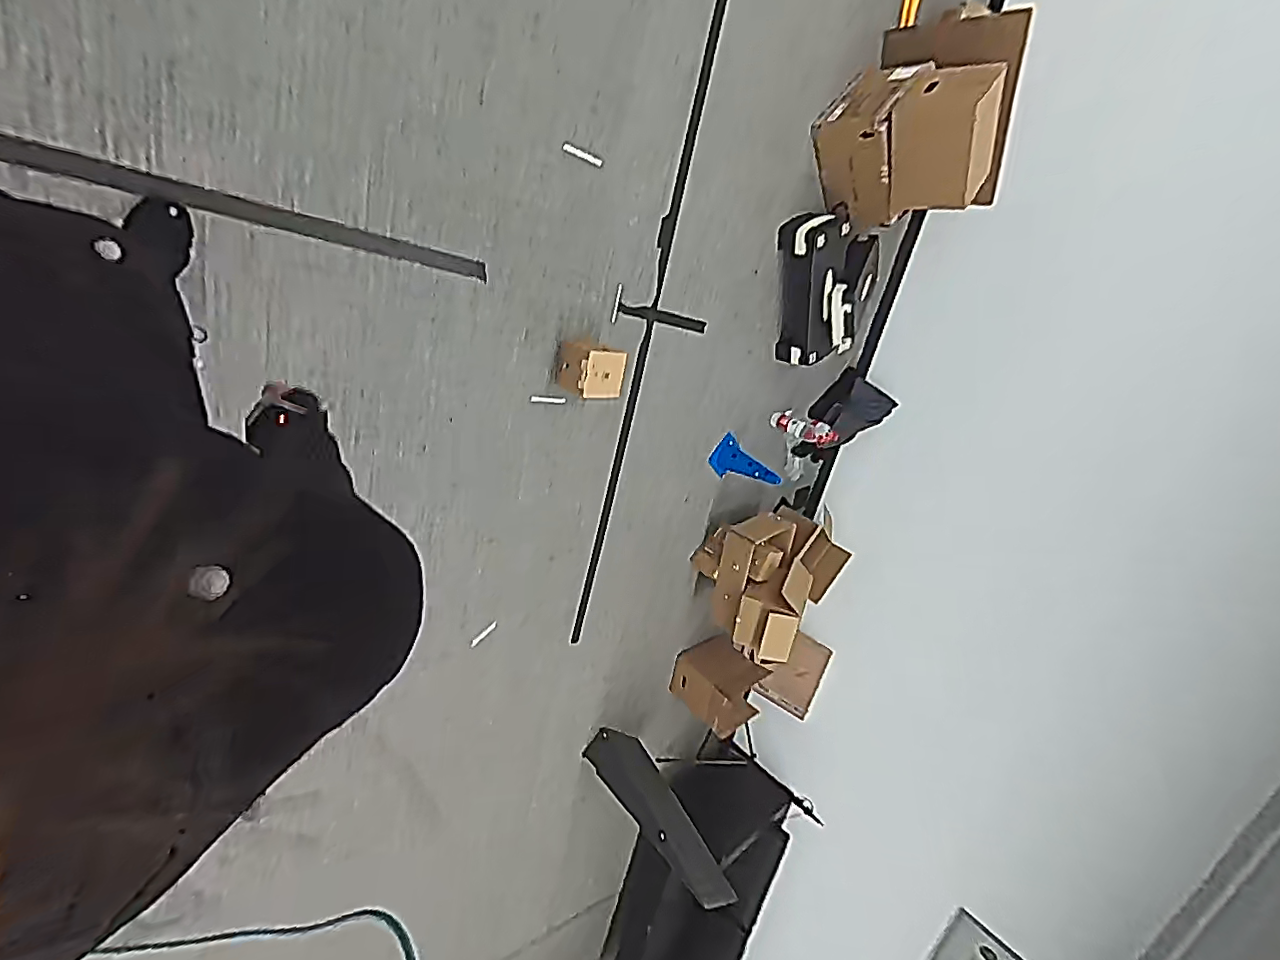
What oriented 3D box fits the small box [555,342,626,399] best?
[{"bbox_3d":[-0.182,-0.397,1.958,0.179,0.176,0.168,-8,118,-42],"label":"small box"}]
